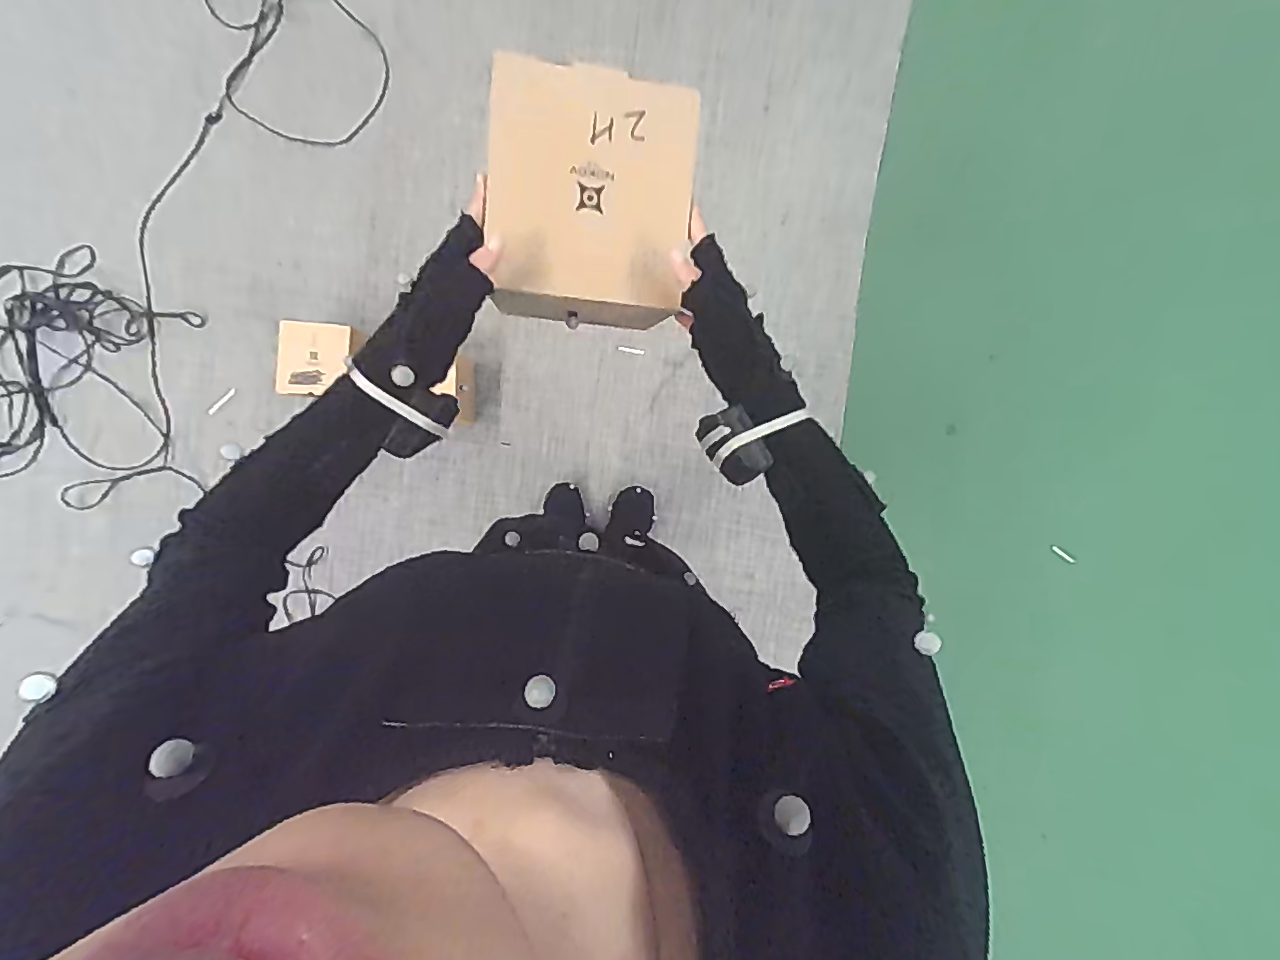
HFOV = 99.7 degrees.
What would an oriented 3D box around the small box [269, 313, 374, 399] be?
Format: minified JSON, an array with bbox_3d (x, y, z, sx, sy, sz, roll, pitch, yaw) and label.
[{"bbox_3d":[-0.783,-0.301,1.344,0.168,0.176,0.179,4,92,-3],"label":"small box"}]

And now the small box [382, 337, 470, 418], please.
[{"bbox_3d":[-0.533,-0.252,1.361,0.168,0.176,0.179,1,94,-3],"label":"small box"}]
